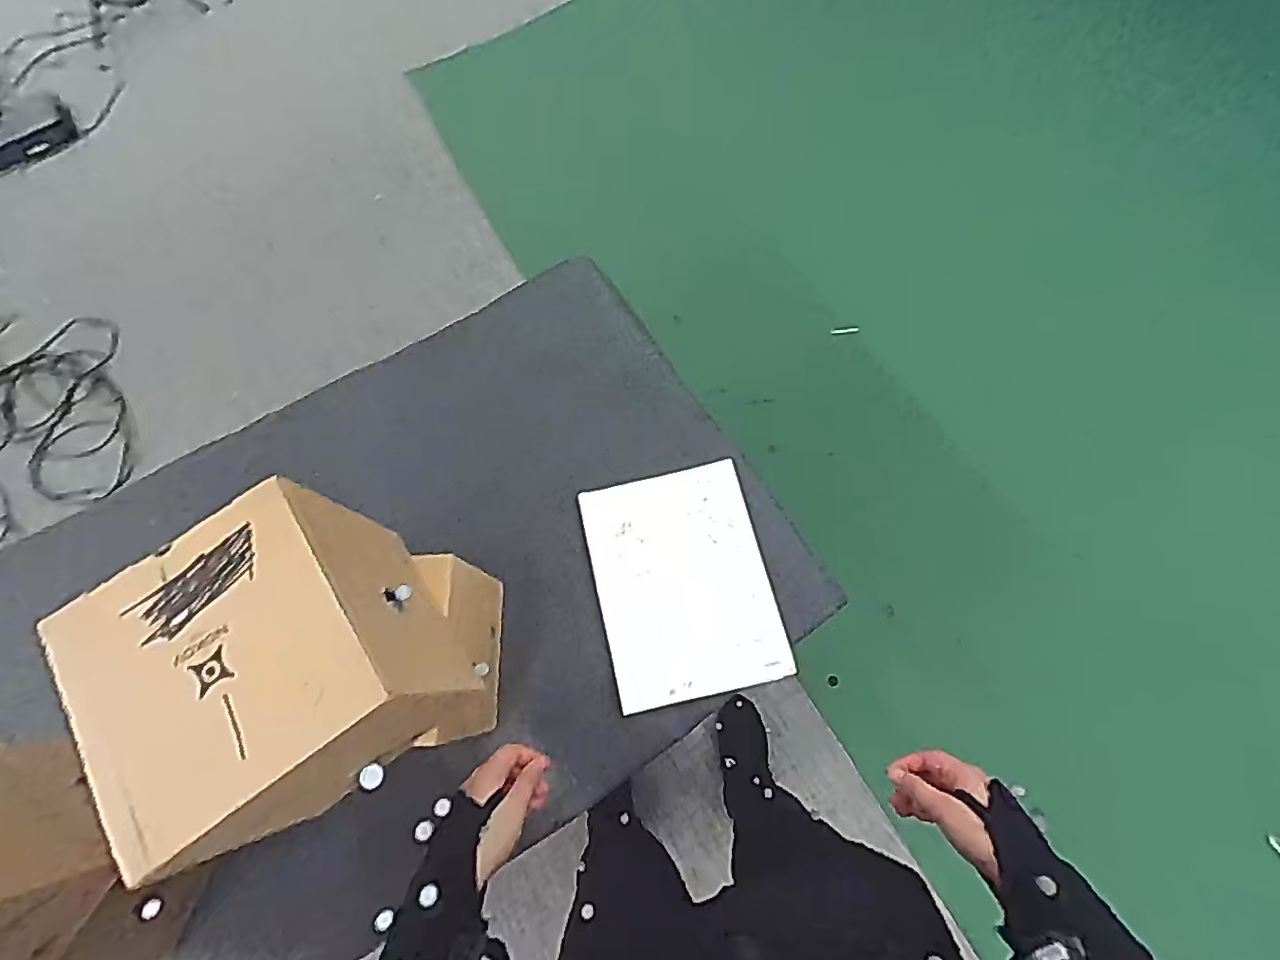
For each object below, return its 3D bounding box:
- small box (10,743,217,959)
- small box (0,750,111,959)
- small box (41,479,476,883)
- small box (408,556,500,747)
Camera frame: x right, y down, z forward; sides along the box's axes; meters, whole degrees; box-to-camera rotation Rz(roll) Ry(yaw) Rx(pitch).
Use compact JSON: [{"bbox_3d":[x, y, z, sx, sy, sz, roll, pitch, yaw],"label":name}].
[{"bbox_3d":[-0.540,0.359,0.511,0.179,0.176,0.168,17,72,9],"label":"small box"},{"bbox_3d":[-0.530,0.304,0.358,0.179,0.176,0.168,28,74,13],"label":"small box"},{"bbox_3d":[-0.253,0.133,0.399,0.168,0.176,0.179,-35,73,-8],"label":"small box"},{"bbox_3d":[-0.253,0.175,0.559,0.179,0.176,0.168,-3,71,3],"label":"small box"}]
